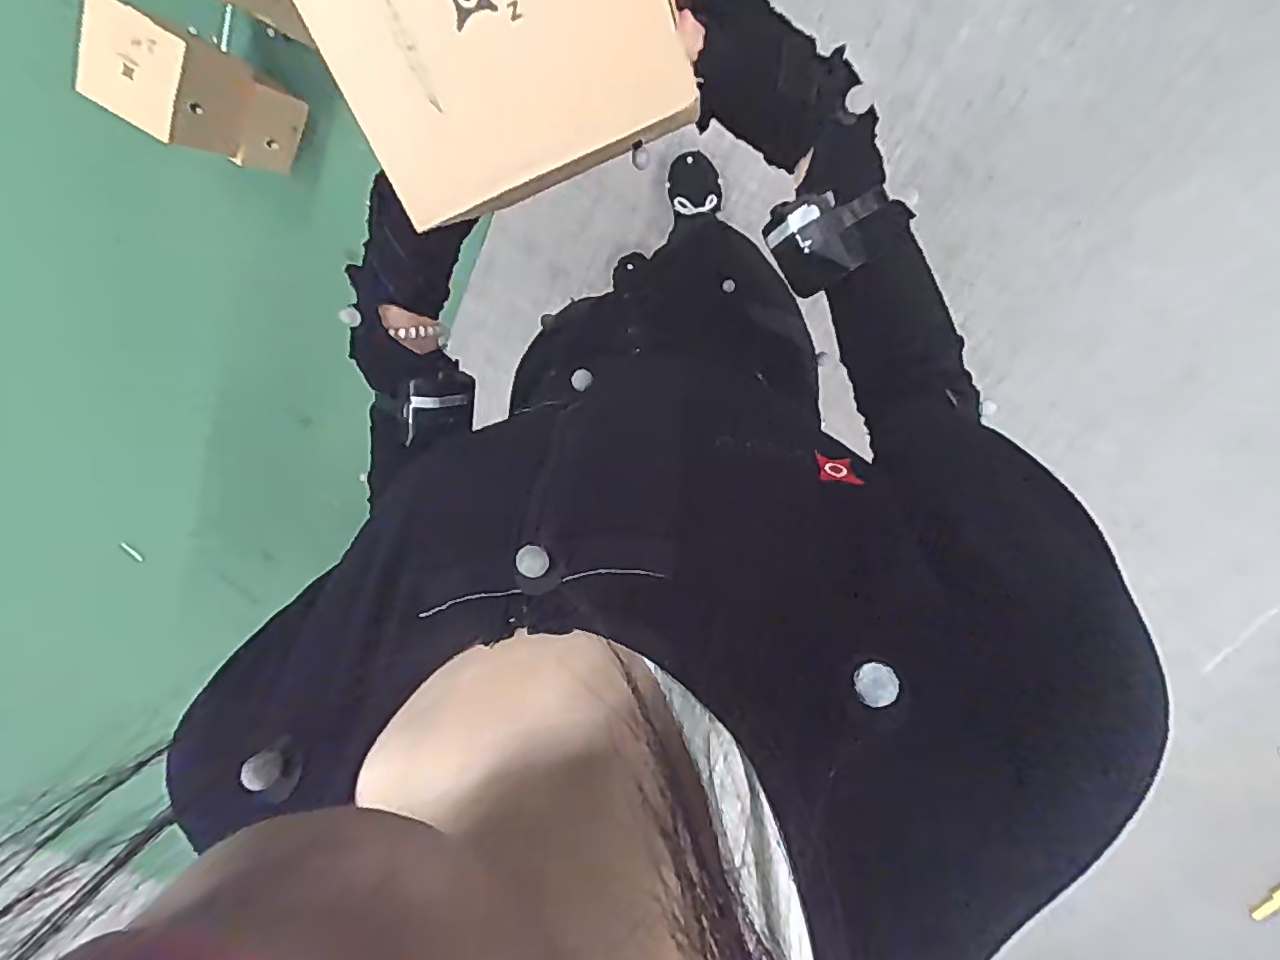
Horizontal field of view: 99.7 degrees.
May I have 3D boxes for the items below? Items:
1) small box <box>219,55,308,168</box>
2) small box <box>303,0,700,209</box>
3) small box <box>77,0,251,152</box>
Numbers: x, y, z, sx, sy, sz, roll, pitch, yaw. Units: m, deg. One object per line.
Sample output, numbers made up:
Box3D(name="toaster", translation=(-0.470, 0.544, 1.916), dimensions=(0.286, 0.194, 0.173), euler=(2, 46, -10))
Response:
Box3D(name="small box", translation=(-0.862, -0.801, 1.164), dimensions=(0.179, 0.176, 0.168), euler=(31, 111, -9))
Box3D(name="small box", translation=(-0.073, -0.284, 0.321), dimensions=(0.179, 0.176, 0.168), euler=(-16, 117, 14))
Box3D(name="small box", translation=(-0.874, -0.749, 1.007), dimensions=(0.168, 0.176, 0.179), euler=(30, 111, -9))
